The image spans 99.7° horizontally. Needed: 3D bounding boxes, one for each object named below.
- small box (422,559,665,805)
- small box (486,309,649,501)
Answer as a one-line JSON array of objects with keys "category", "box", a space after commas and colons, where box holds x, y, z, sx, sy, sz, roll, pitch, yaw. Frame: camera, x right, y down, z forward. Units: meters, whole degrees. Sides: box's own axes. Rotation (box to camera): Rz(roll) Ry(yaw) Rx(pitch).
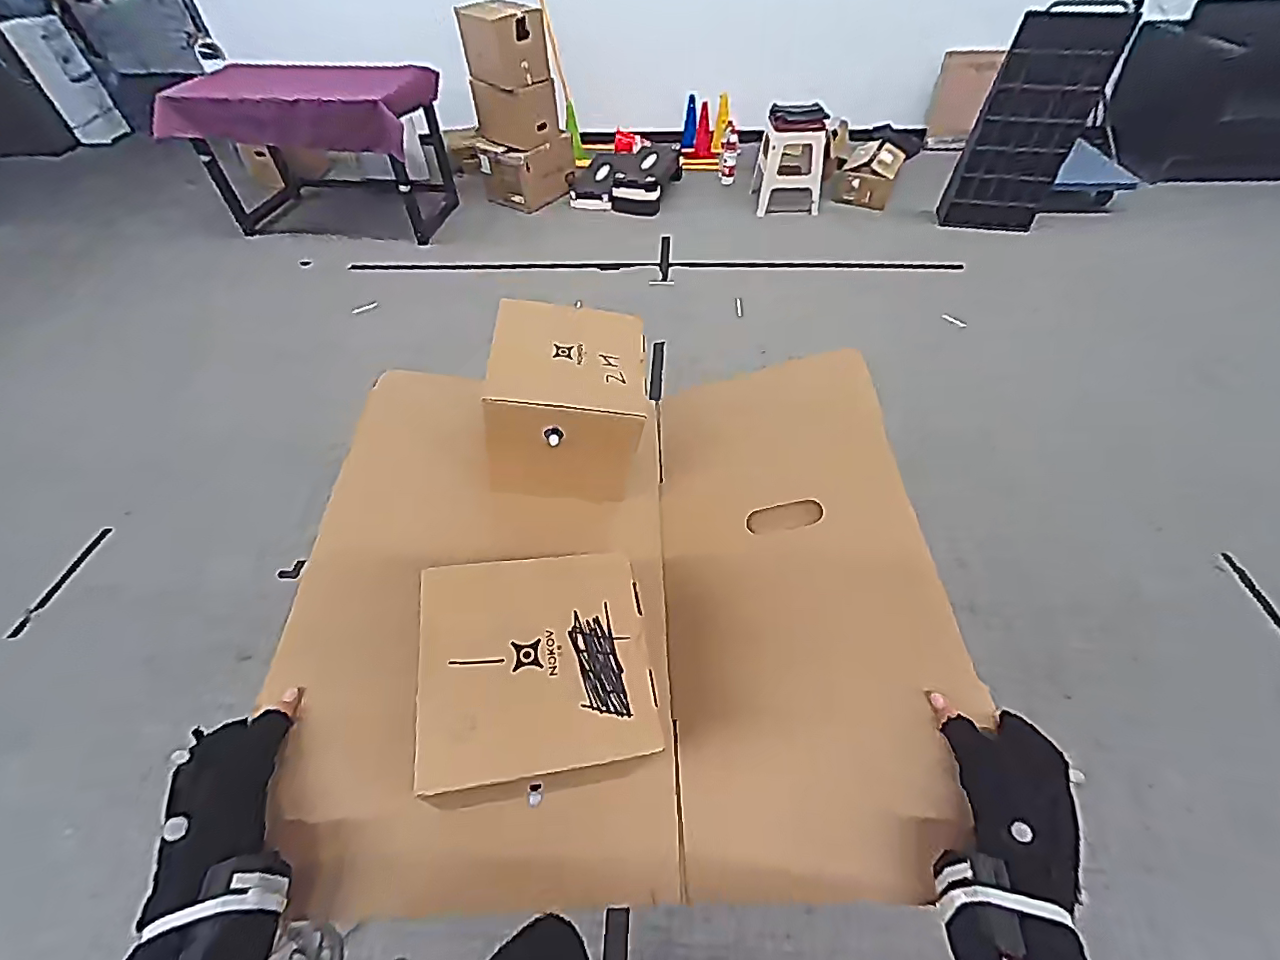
[{"category": "small box", "box": [-0.092, 0.186, 0.493, 0.179, 0.176, 0.168, -3, 57, -14]}, {"category": "small box", "box": [-0.090, -0.087, 0.684, 0.179, 0.176, 0.168, 6, 55, -9]}]
